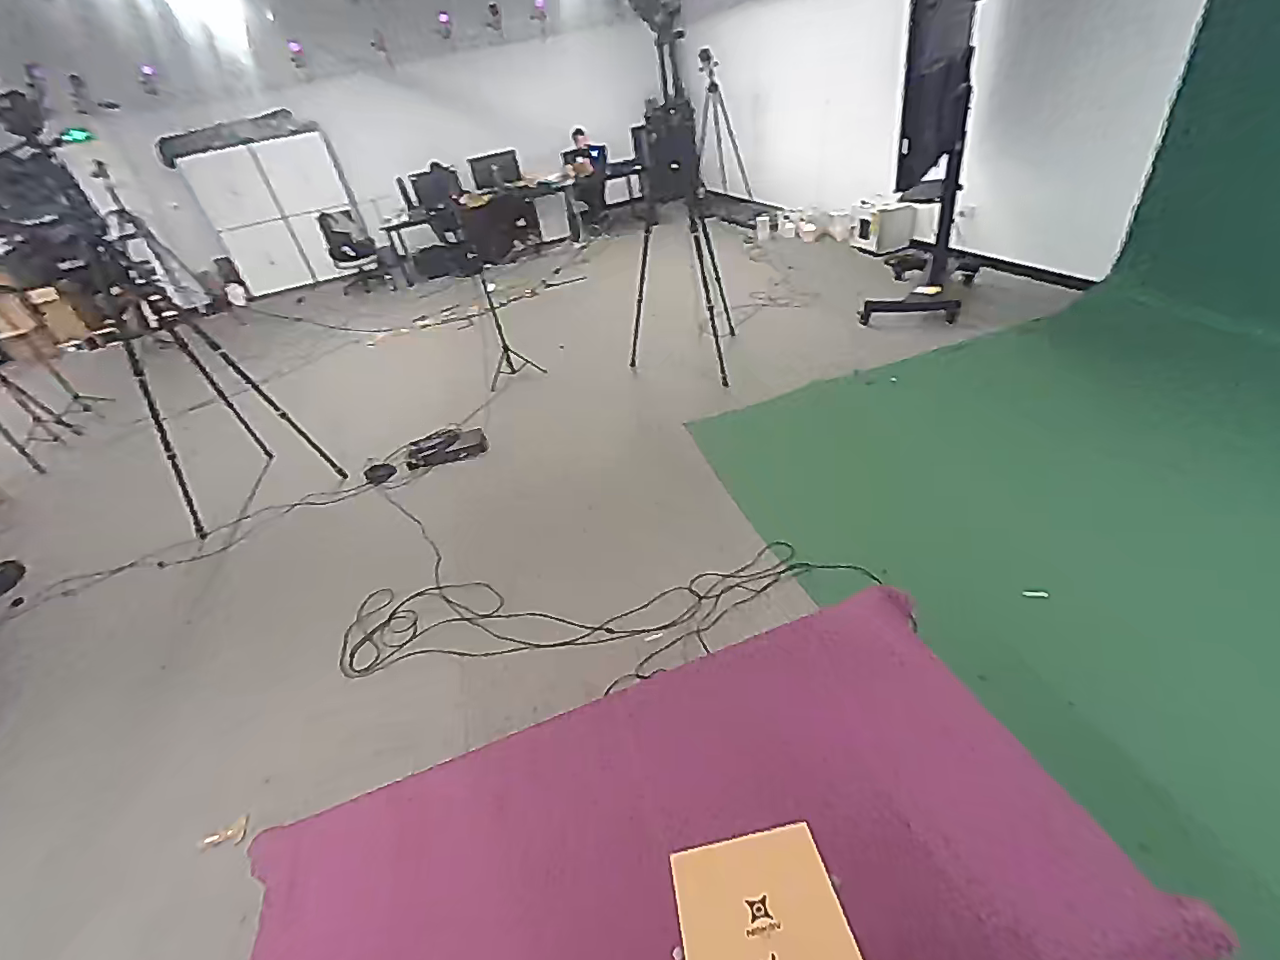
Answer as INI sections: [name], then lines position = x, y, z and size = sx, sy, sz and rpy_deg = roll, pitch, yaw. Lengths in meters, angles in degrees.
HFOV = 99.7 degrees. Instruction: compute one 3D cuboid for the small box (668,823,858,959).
[small box]
position = 0.133, 0.513, 0.570
size = 0.168, 0.176, 0.179
rpy_deg = -13, 22, 0
